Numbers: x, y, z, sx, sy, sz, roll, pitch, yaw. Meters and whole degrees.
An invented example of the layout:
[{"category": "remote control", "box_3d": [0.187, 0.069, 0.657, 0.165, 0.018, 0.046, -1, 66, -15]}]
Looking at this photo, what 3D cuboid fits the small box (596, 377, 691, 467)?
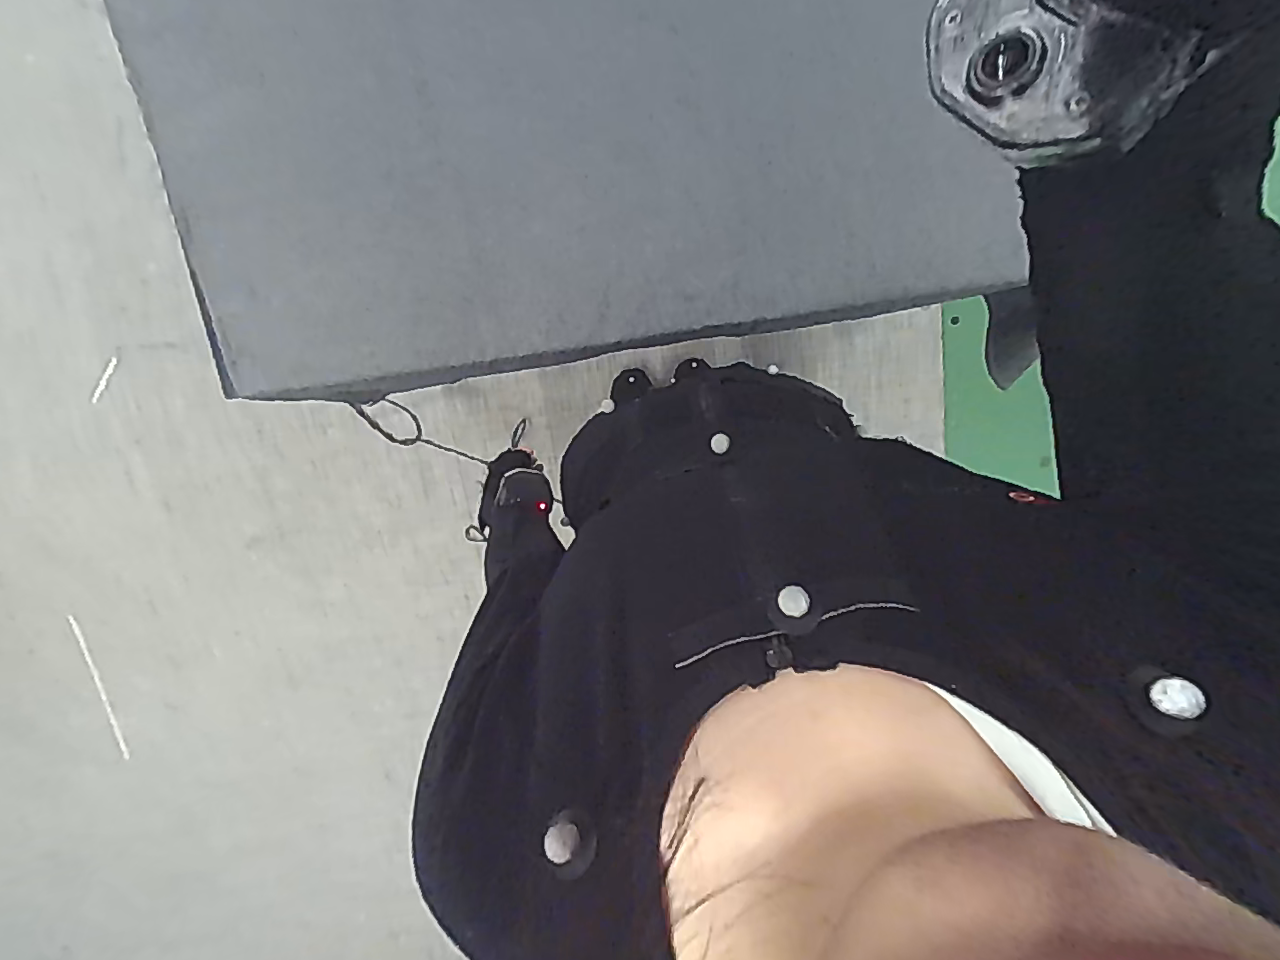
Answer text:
[{"category": "small box", "box_3d": [0.005, -0.154, 1.395, 0.179, 0.176, 0.168, 32, 111, 11]}]
